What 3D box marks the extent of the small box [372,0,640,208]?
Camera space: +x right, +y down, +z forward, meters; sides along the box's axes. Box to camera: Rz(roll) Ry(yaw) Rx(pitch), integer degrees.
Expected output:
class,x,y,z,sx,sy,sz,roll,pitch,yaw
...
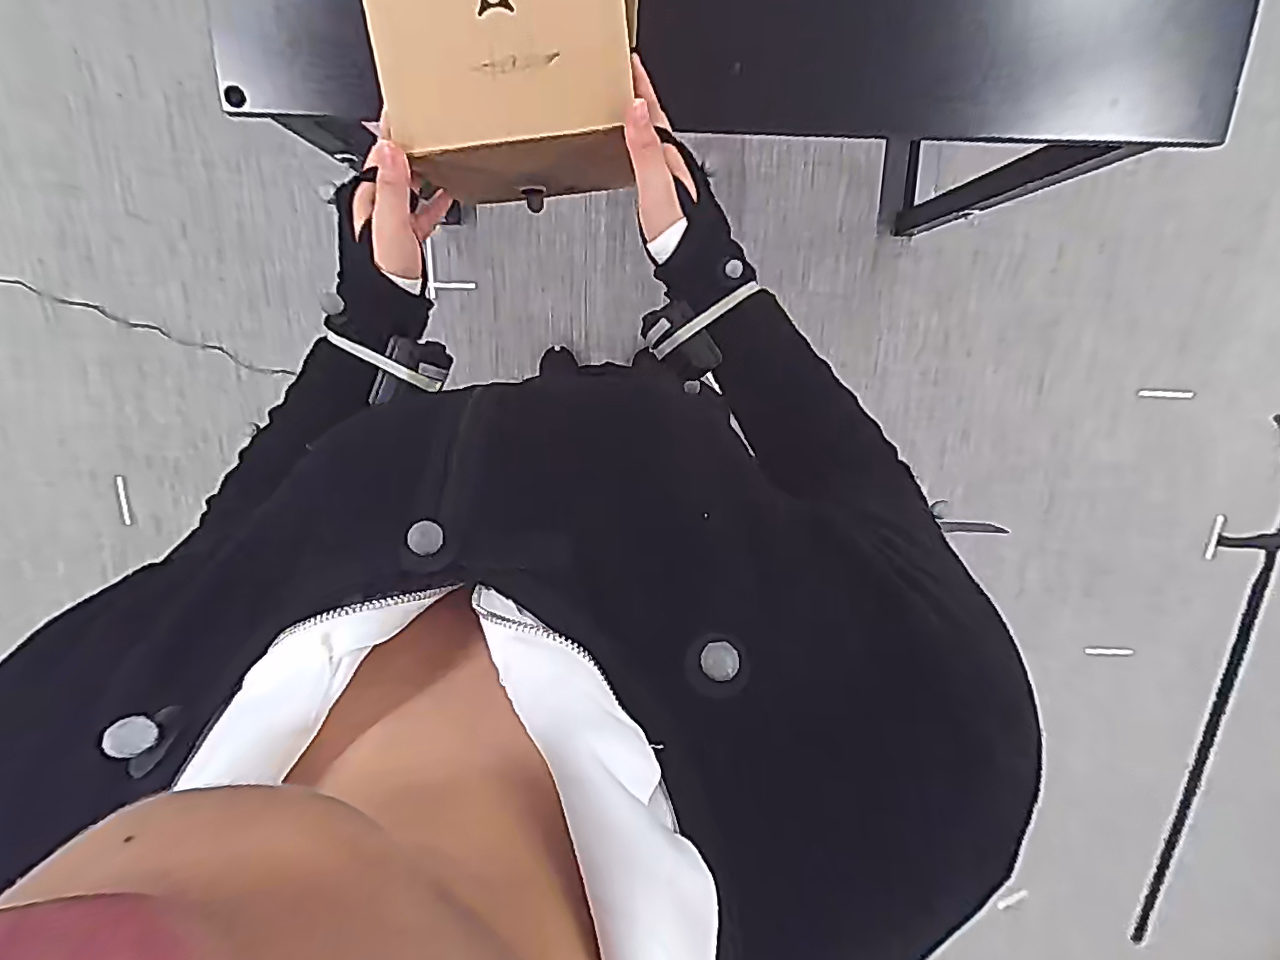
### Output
class,x,y,z,sx,sy,sz,roll,pitch,yaw
small box,-0.091,-0.333,0.422,0.168,0.176,0.179,-6,106,2
